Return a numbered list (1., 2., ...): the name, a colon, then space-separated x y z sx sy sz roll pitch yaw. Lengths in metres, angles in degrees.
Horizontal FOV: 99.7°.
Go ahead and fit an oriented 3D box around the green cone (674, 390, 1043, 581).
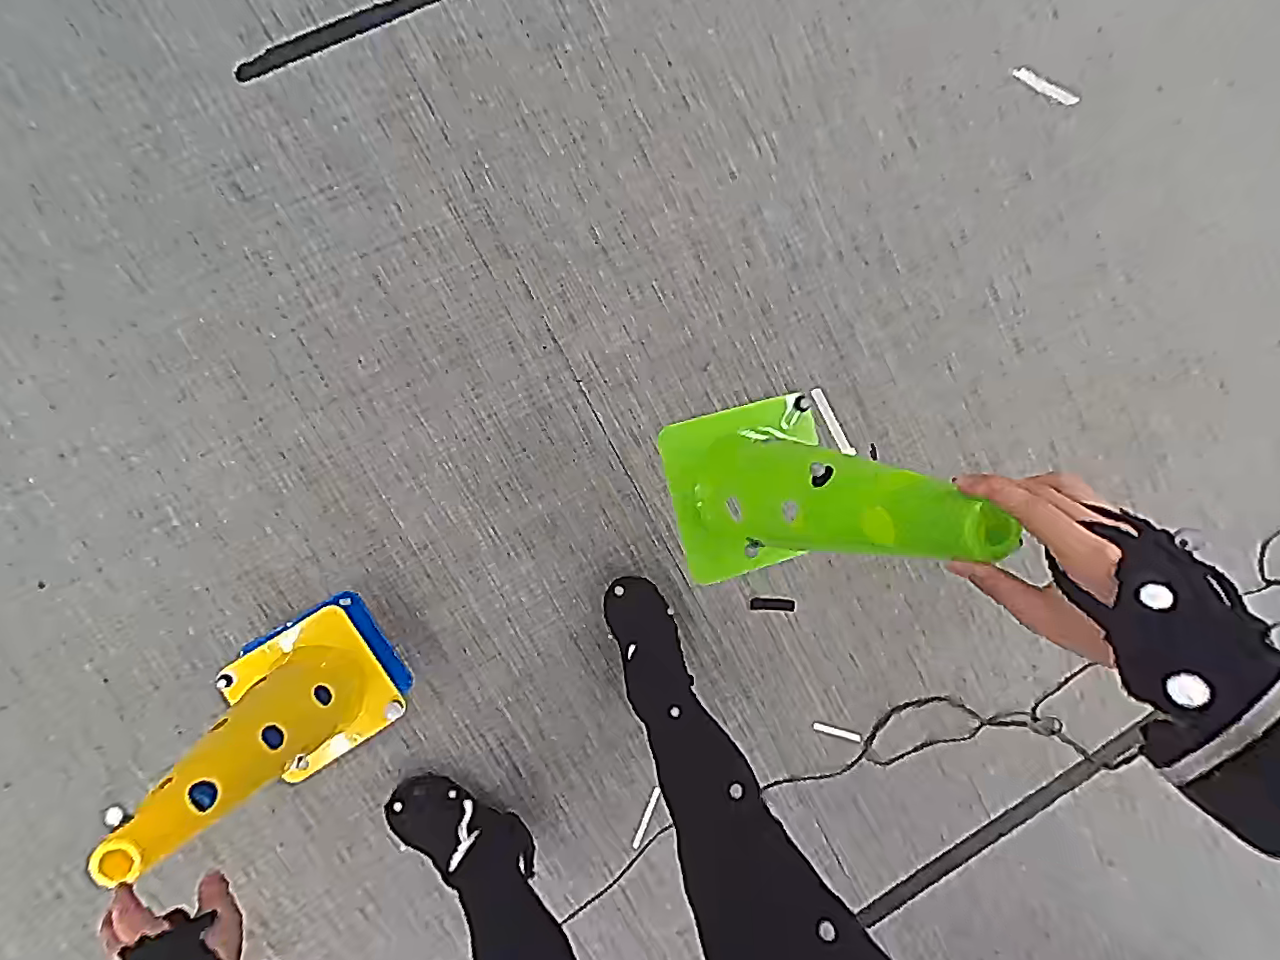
1. green cone: 0.183 0.019 0.494 0.200 0.368 0.202 -17 97 -9
